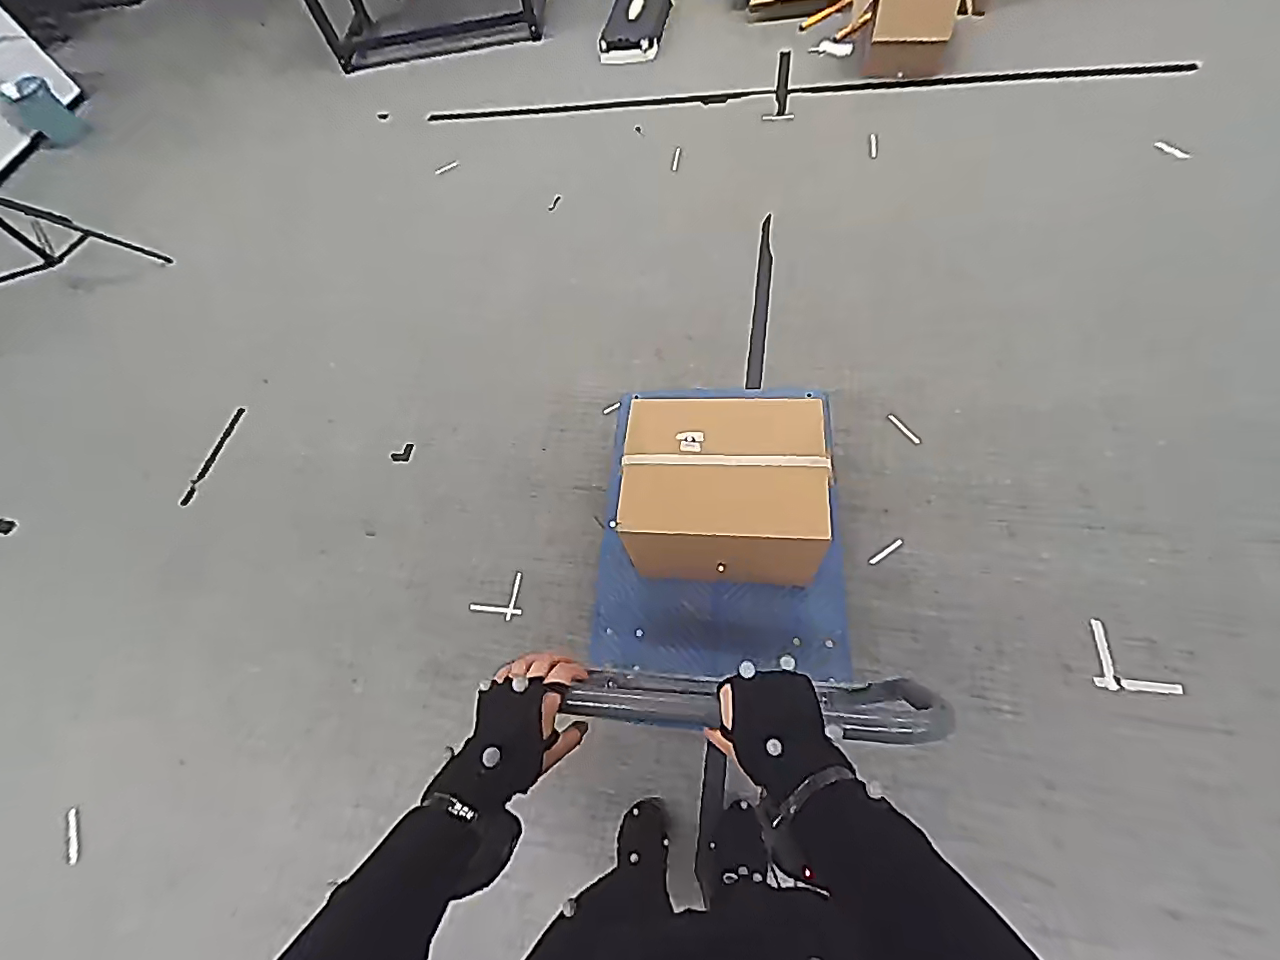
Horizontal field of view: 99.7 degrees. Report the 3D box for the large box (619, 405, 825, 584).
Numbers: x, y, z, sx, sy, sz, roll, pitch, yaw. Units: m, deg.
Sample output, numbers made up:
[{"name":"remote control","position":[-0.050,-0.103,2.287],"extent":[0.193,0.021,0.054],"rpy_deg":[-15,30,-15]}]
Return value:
[{"name":"large box","position":[0.187,0.047,1.239],"extent":[0.408,0.320,0.320],"rpy_deg":[0,62,10]}]
